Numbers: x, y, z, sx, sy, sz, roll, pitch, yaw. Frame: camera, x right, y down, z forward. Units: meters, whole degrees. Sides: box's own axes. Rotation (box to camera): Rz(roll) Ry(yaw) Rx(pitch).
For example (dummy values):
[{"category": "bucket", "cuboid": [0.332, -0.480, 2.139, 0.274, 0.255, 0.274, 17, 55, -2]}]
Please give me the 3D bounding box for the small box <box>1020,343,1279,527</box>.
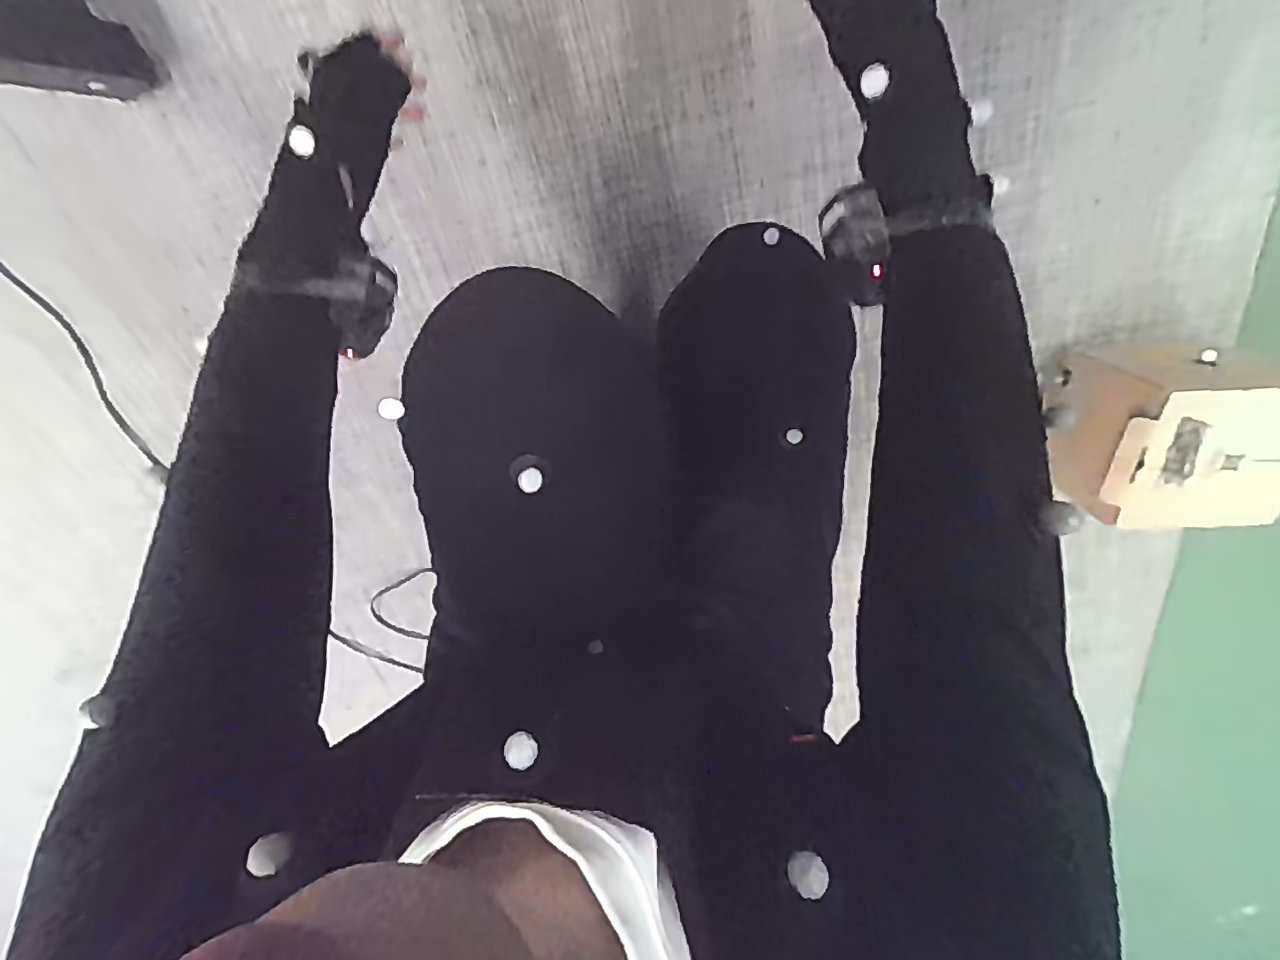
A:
[{"category": "small box", "cuboid": [0.601, -0.059, 0.641, 0.179, 0.176, 0.168, -2, 119, 3]}]
